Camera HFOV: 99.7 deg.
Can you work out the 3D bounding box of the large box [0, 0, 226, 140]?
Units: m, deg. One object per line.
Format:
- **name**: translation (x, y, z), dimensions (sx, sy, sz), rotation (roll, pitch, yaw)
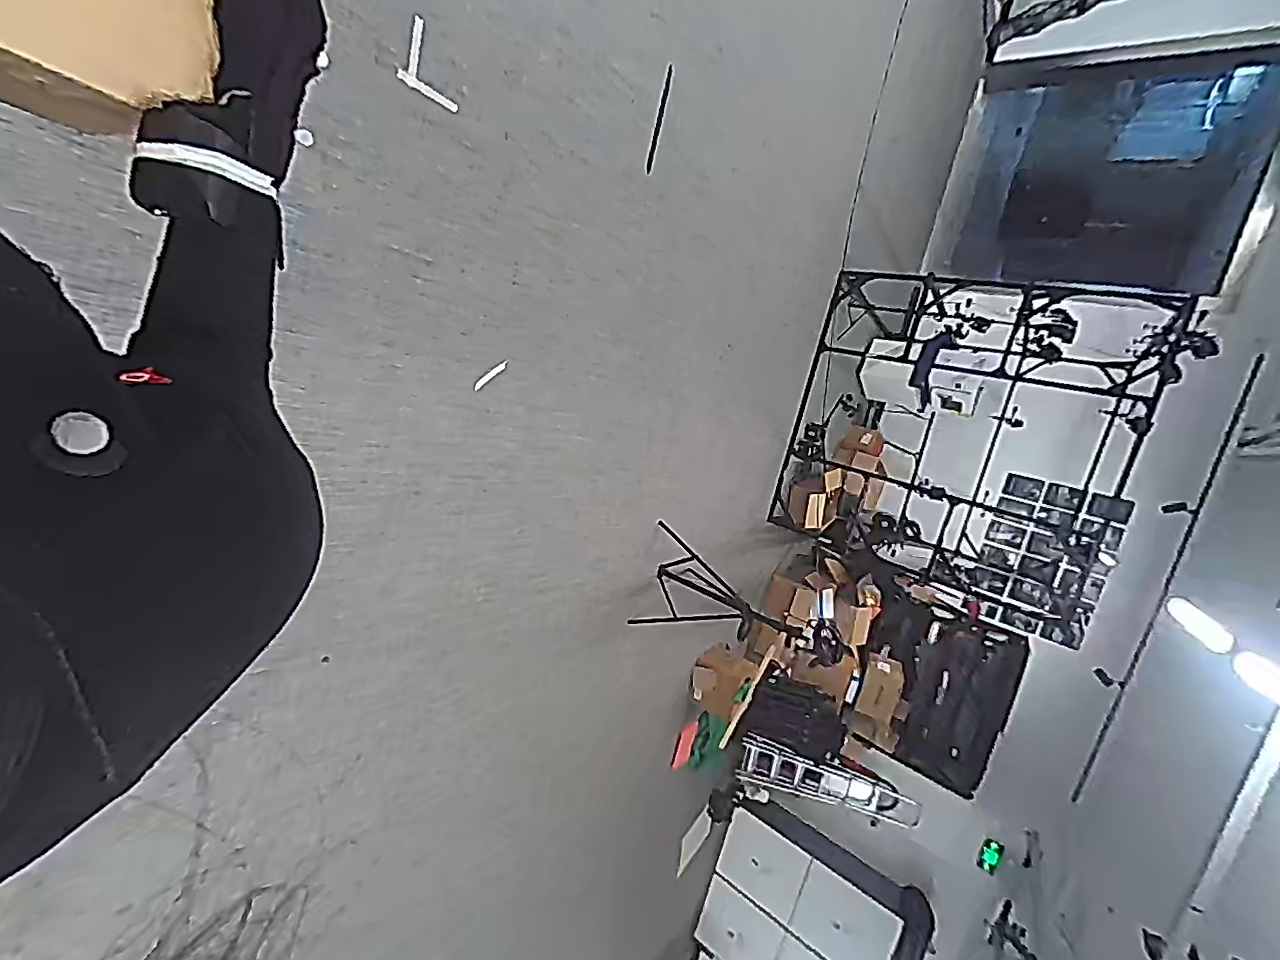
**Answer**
- **large box**: translation (-0.505, -0.439, 0.281), dimensions (0.408, 0.320, 0.320), rotation (0, 110, -58)
